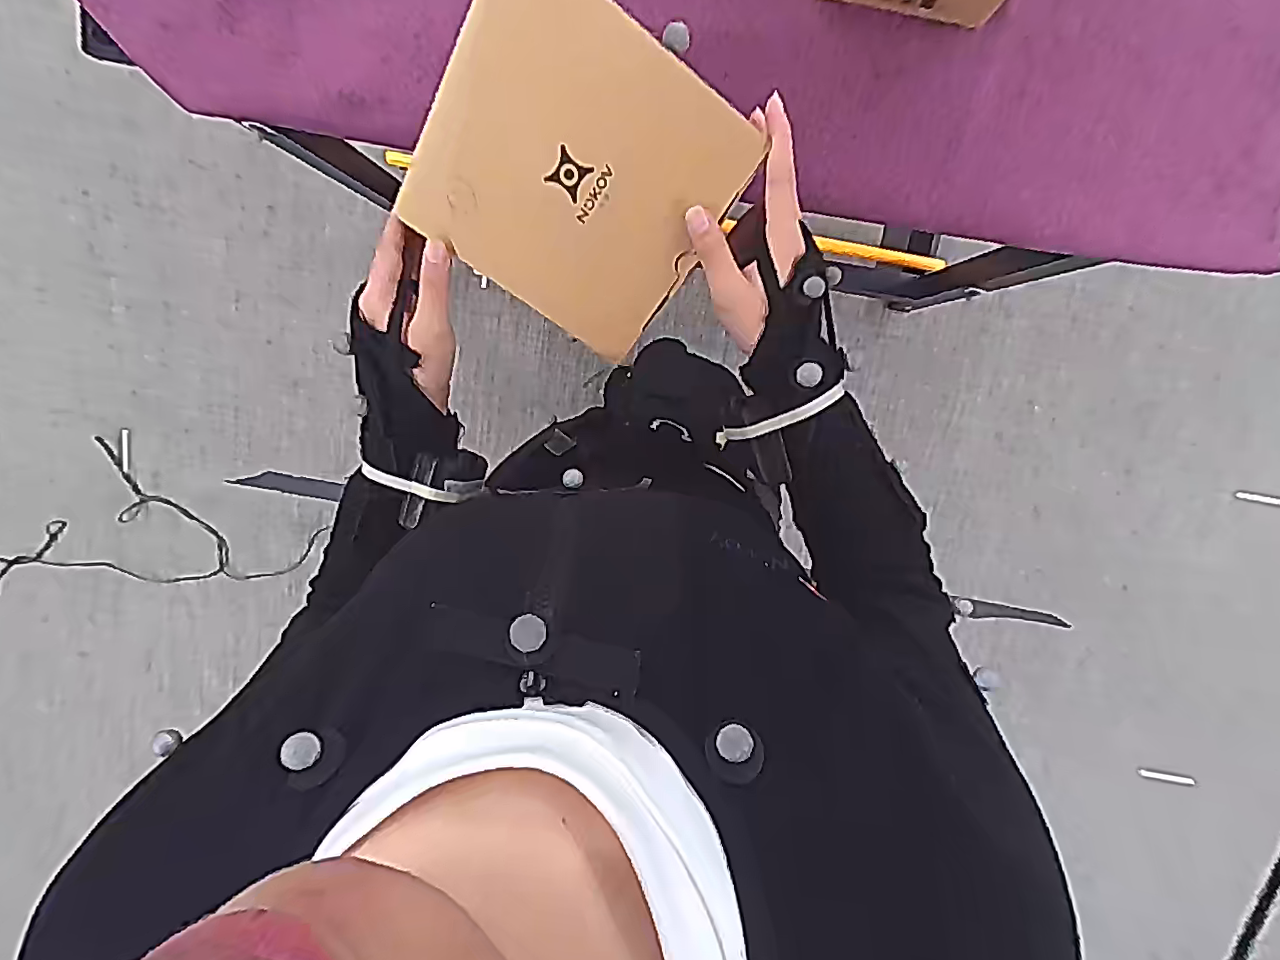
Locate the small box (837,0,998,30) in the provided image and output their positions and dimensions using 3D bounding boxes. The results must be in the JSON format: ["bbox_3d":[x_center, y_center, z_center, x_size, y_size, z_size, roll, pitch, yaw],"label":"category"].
[{"bbox_3d":[0.265,-0.525,0.436,0.168,0.176,0.179,12,102,-1],"label":"small box"}]
